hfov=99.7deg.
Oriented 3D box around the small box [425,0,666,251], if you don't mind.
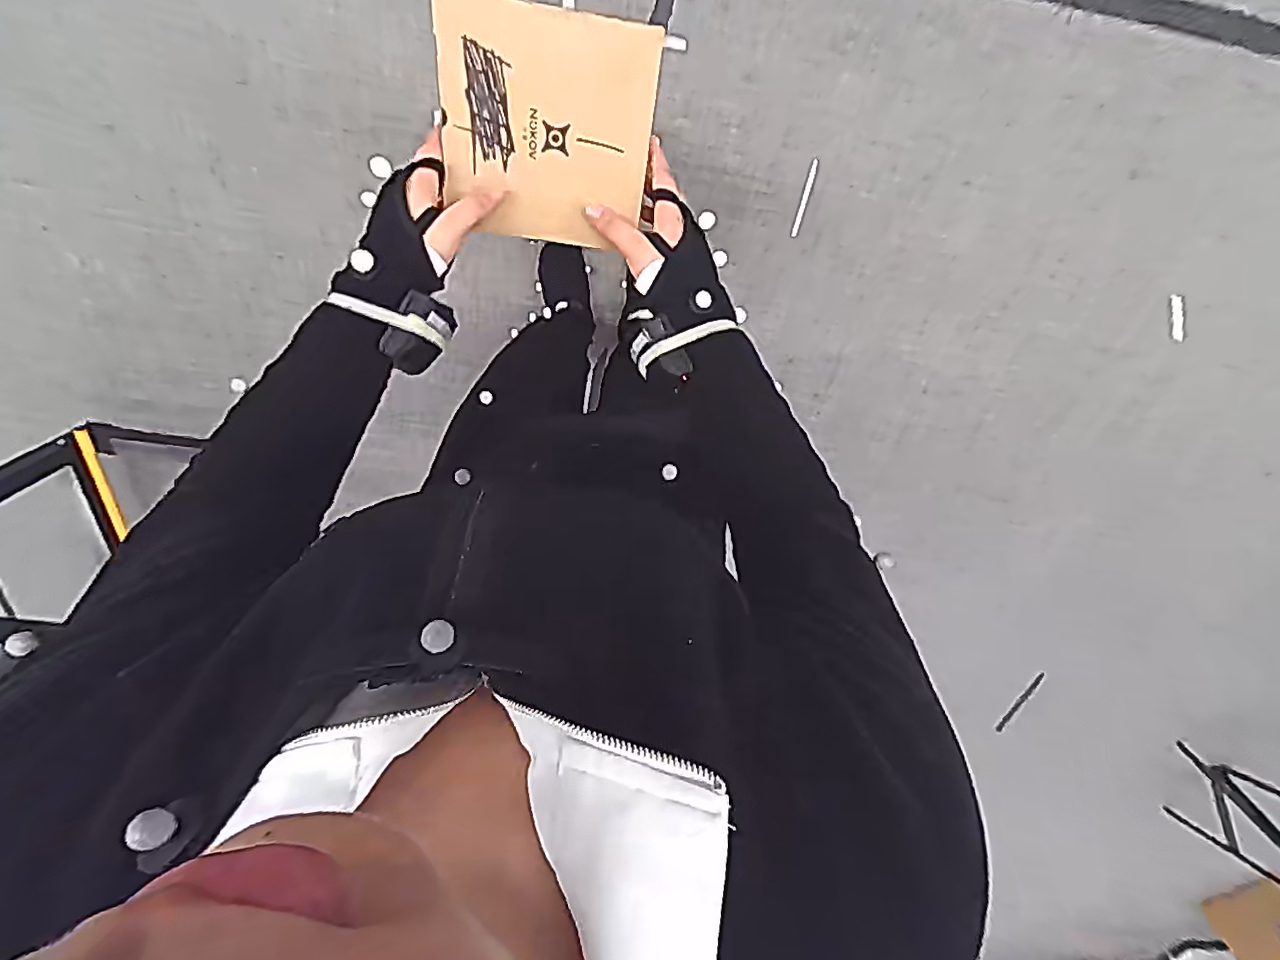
[{"bbox_3d":[-0.081,-0.326,0.498,0.179,0.176,0.168,5,125,-7],"label":"small box"}]
